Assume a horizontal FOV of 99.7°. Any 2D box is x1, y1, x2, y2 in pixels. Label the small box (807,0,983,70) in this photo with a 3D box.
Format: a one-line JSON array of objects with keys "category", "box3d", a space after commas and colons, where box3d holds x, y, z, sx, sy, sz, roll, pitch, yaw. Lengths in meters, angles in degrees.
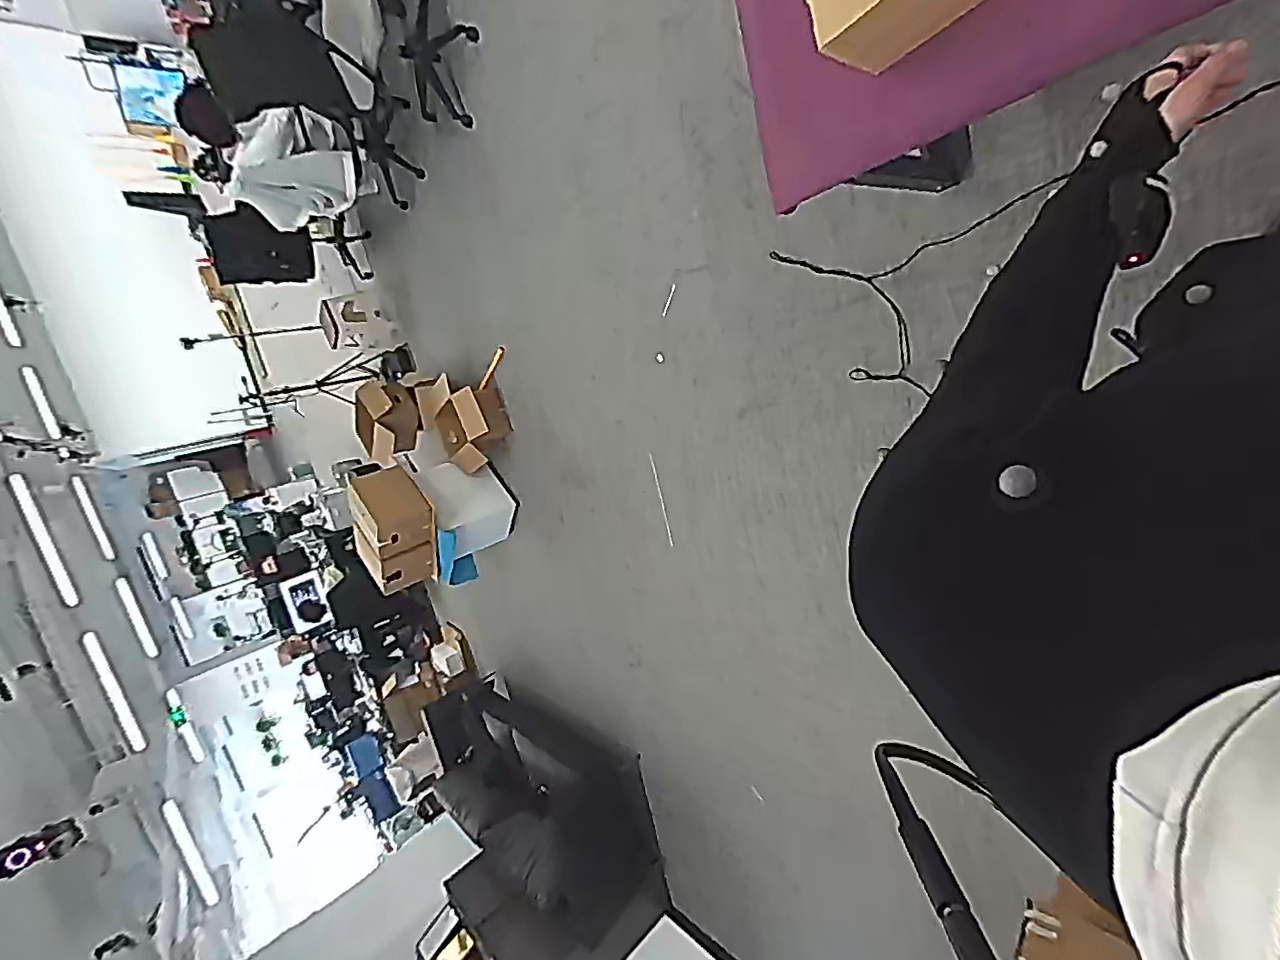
[{"category": "small box", "box3d": [0.317, -0.648, 0.659, 0.179, 0.176, 0.168, -8, 100, 51]}]
